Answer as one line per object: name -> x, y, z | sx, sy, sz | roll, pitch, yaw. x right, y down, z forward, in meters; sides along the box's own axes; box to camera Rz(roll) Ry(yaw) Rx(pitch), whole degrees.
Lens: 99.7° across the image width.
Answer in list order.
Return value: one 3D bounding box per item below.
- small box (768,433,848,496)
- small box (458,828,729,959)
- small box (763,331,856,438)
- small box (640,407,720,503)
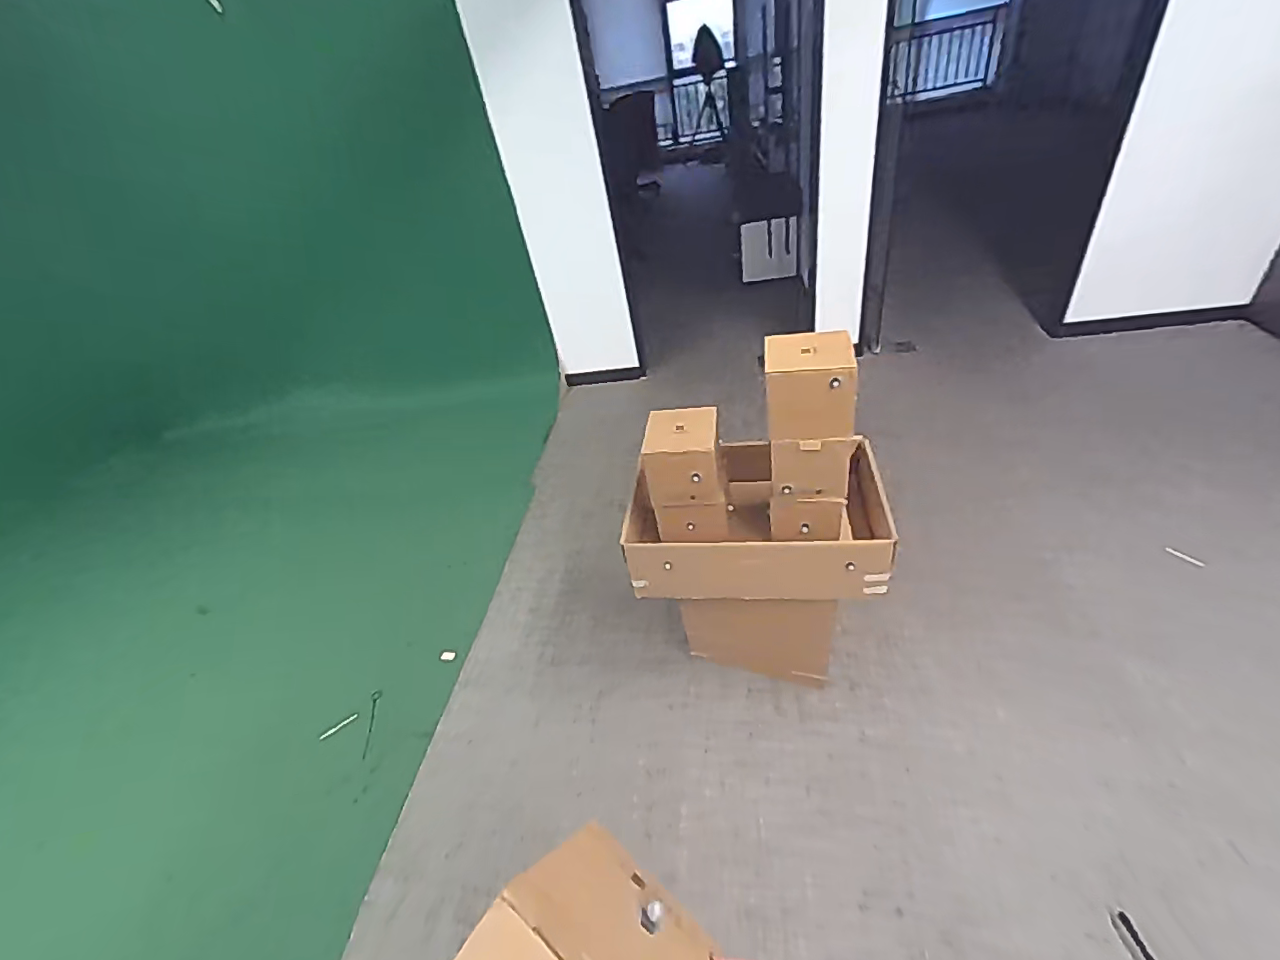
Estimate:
small box -> 0.388, -0.076, 1.259 | 0.168, 0.176, 0.179 | -1, 39, 14
small box -> -0.051, 0.402, 0.390 | 0.168, 0.176, 0.179 | 34, 84, 24
small box -> 0.357, -0.202, 1.161 | 0.179, 0.176, 0.168 | 0, 40, 13
small box -> 0.106, -0.057, 1.311 | 0.168, 0.176, 0.179 | -2, 39, 13
